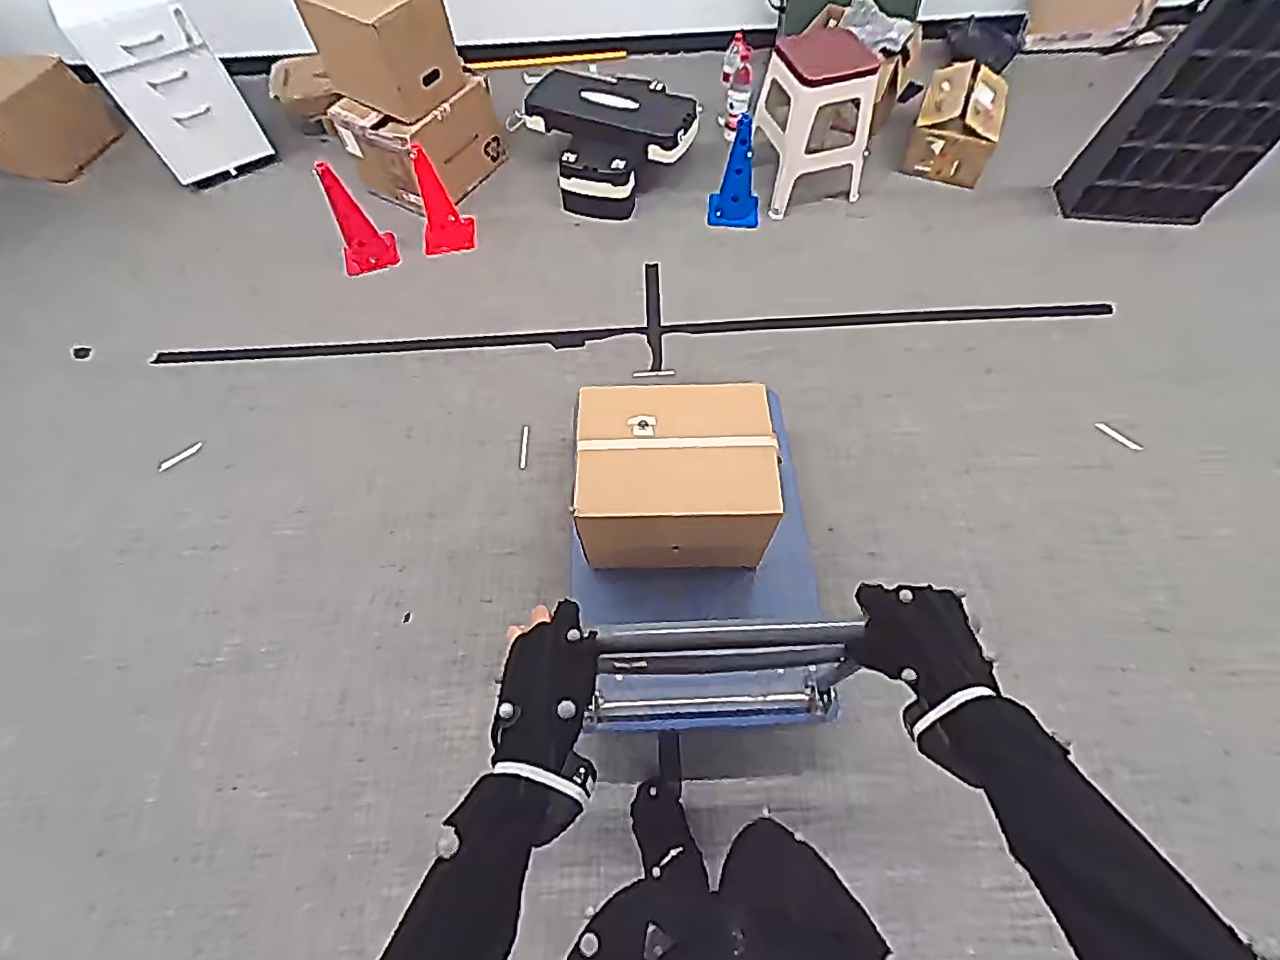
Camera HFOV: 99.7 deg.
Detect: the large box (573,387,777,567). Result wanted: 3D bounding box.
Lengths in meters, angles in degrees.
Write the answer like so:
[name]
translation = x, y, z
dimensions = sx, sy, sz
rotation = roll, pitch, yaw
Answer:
[large box]
translation = 0.072, 0.007, 1.250
dimensions = 0.408, 0.320, 0.320
rotation = -2, 62, 2
